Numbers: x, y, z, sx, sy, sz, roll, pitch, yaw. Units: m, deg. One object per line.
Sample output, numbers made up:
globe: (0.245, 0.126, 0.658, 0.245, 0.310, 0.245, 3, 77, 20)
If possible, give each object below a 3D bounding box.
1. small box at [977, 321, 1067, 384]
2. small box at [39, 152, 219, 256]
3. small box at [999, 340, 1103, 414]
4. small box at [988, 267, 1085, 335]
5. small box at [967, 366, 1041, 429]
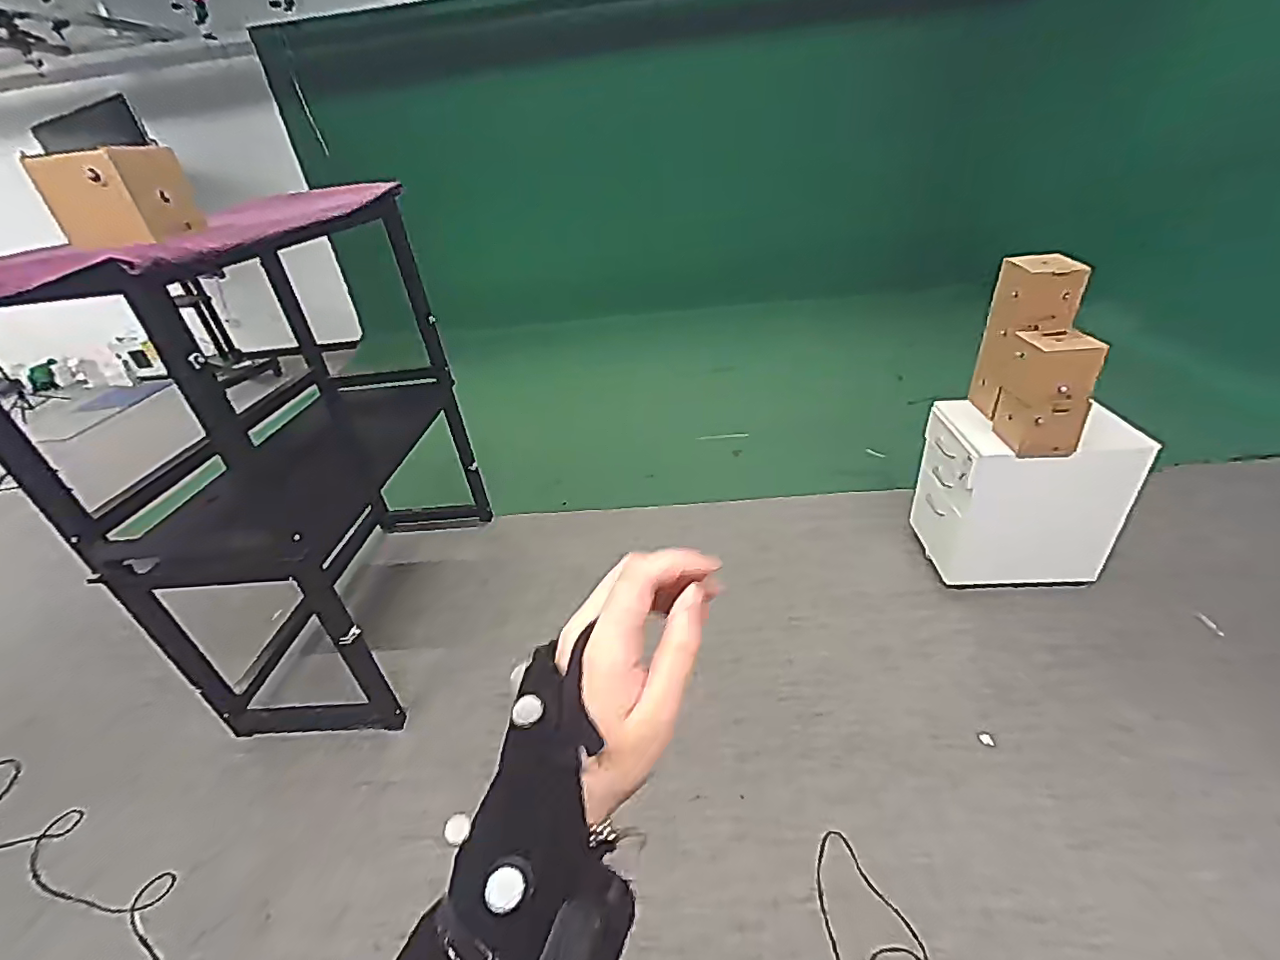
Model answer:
small box: (1.258, -0.428, 1.798, 0.168, 0.176, 0.179, -2, 34, 7)
small box: (-1.032, -0.570, 1.114, 0.179, 0.176, 0.168, -4, 31, 4)
small box: (1.210, -0.308, 1.611, 0.168, 0.176, 0.179, -2, 31, 6)
small box: (1.242, -0.562, 1.708, 0.168, 0.176, 0.179, -2, 34, 5)
small box: (1.277, -0.291, 1.886, 0.168, 0.176, 0.179, -3, 34, 5)
